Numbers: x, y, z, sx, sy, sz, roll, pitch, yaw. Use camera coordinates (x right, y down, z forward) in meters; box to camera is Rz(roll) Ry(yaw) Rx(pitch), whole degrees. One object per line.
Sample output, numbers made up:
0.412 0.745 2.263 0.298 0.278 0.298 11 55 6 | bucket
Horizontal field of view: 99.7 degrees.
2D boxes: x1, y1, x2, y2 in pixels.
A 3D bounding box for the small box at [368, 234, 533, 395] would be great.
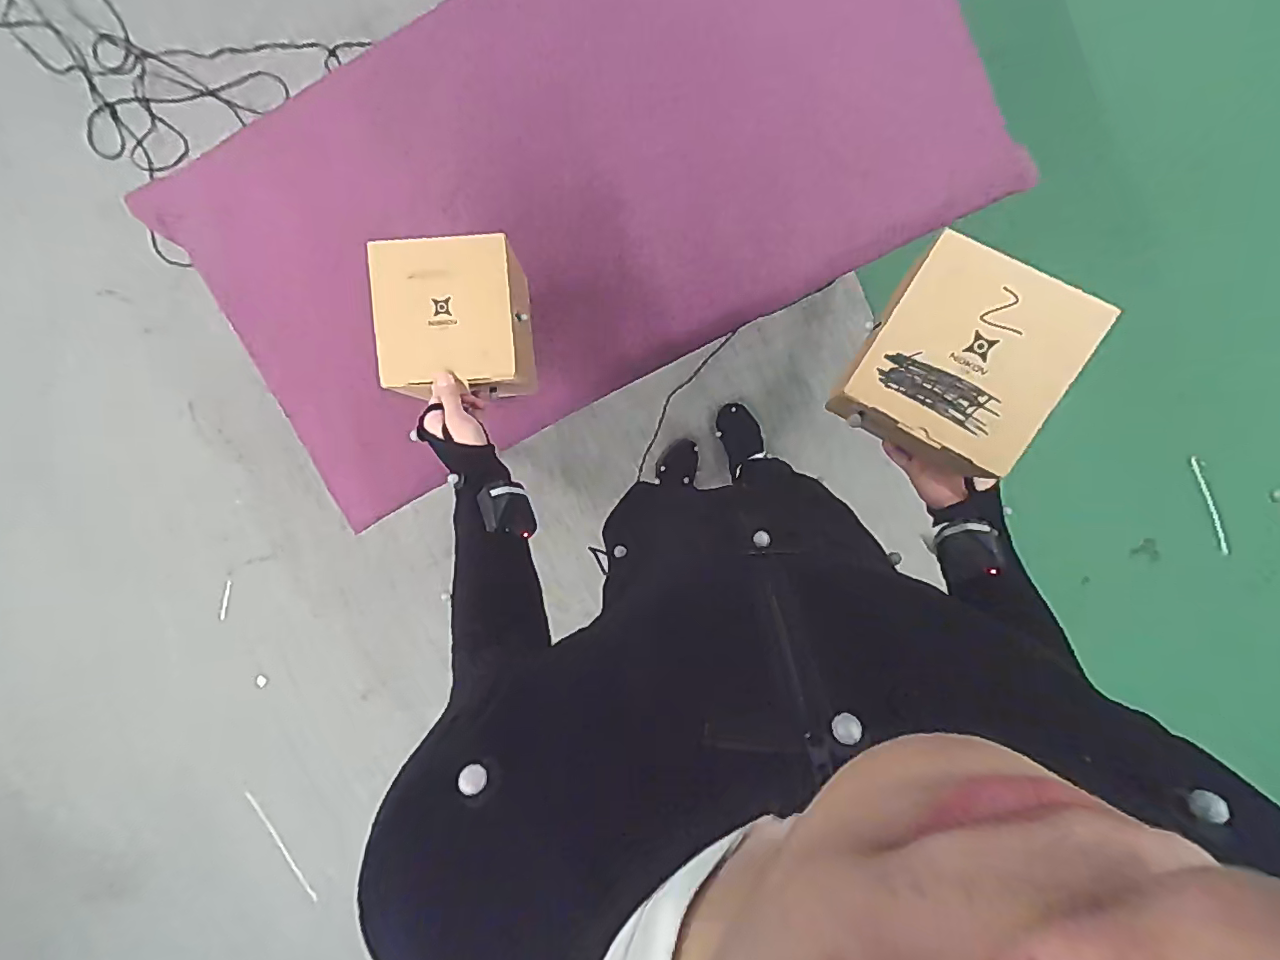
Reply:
-0.242 -0.209 0.732 0.168 0.176 0.179 -4 92 -3 | small box
